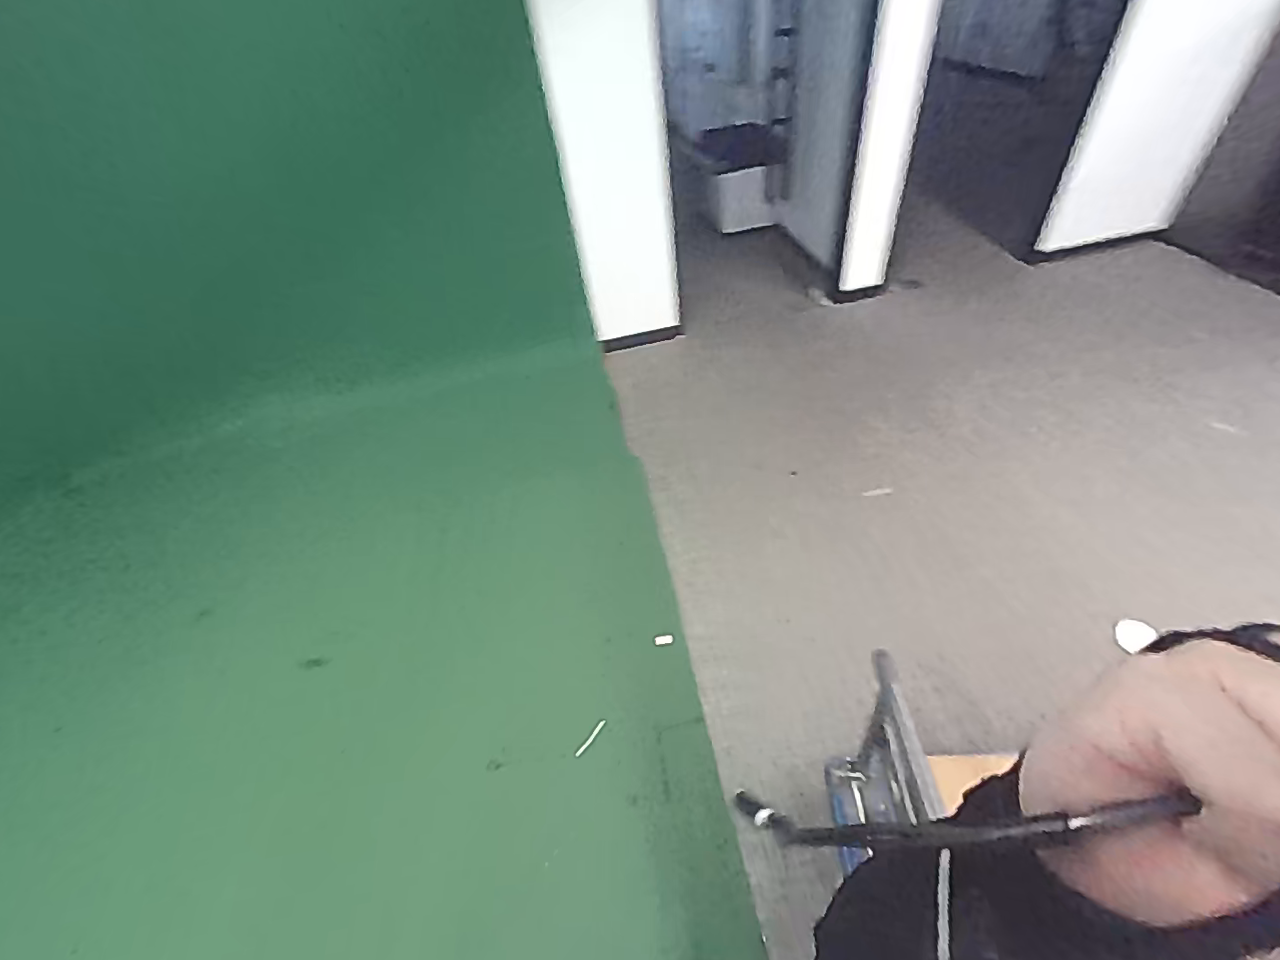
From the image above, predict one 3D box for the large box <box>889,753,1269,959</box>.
[{"bbox_3d":[0.744,0.732,1.009,0.408,0.320,0.320,-3,45,5],"label":"large box"}]
